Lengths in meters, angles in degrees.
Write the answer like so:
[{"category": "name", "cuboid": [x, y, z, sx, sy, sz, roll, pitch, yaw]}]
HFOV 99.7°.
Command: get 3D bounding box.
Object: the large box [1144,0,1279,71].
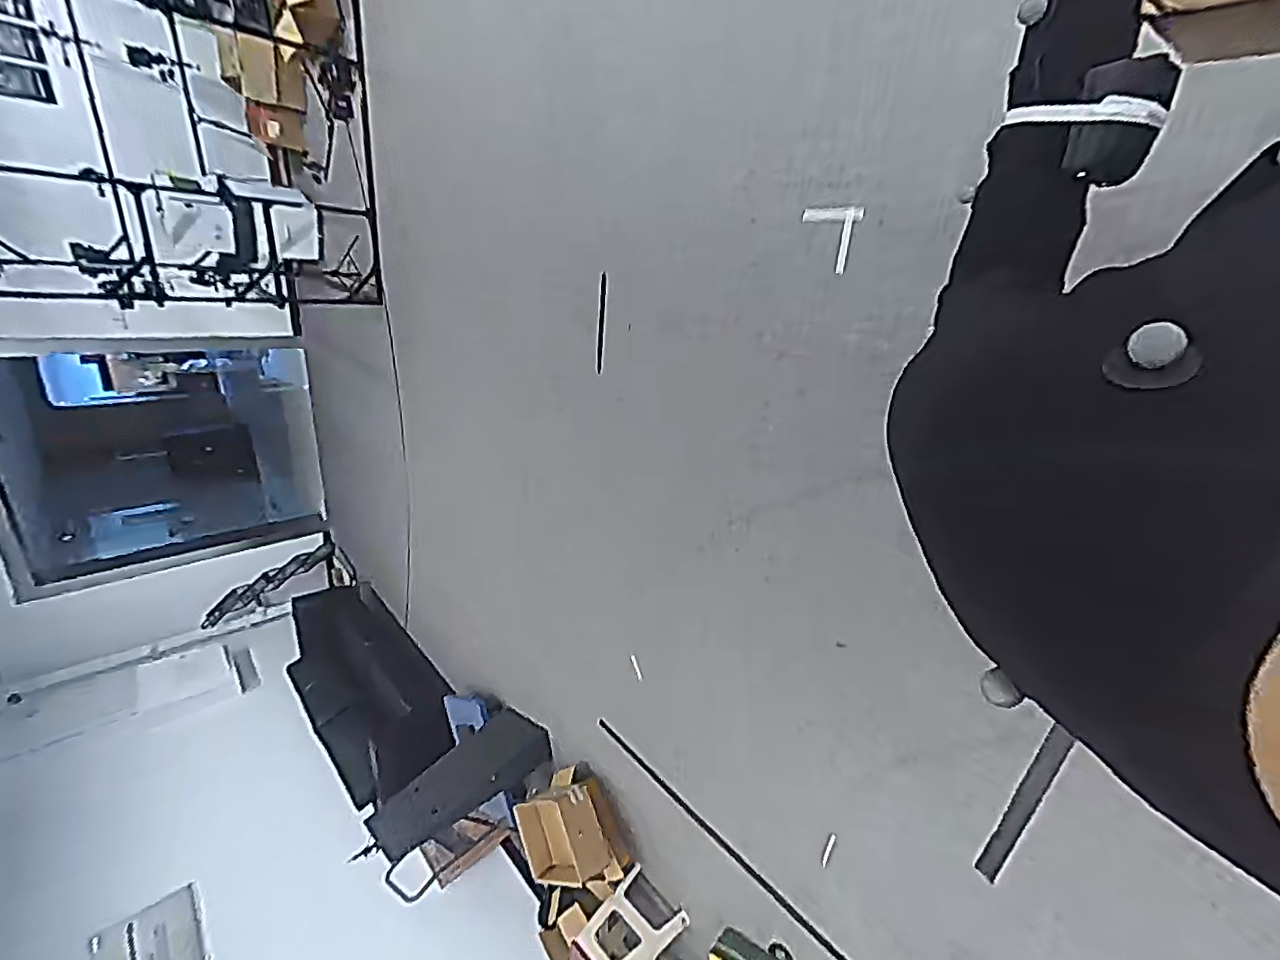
[{"category": "large box", "cuboid": [0.550, -0.420, 0.240, 0.408, 0.320, 0.320, 23, 128, 38]}]
